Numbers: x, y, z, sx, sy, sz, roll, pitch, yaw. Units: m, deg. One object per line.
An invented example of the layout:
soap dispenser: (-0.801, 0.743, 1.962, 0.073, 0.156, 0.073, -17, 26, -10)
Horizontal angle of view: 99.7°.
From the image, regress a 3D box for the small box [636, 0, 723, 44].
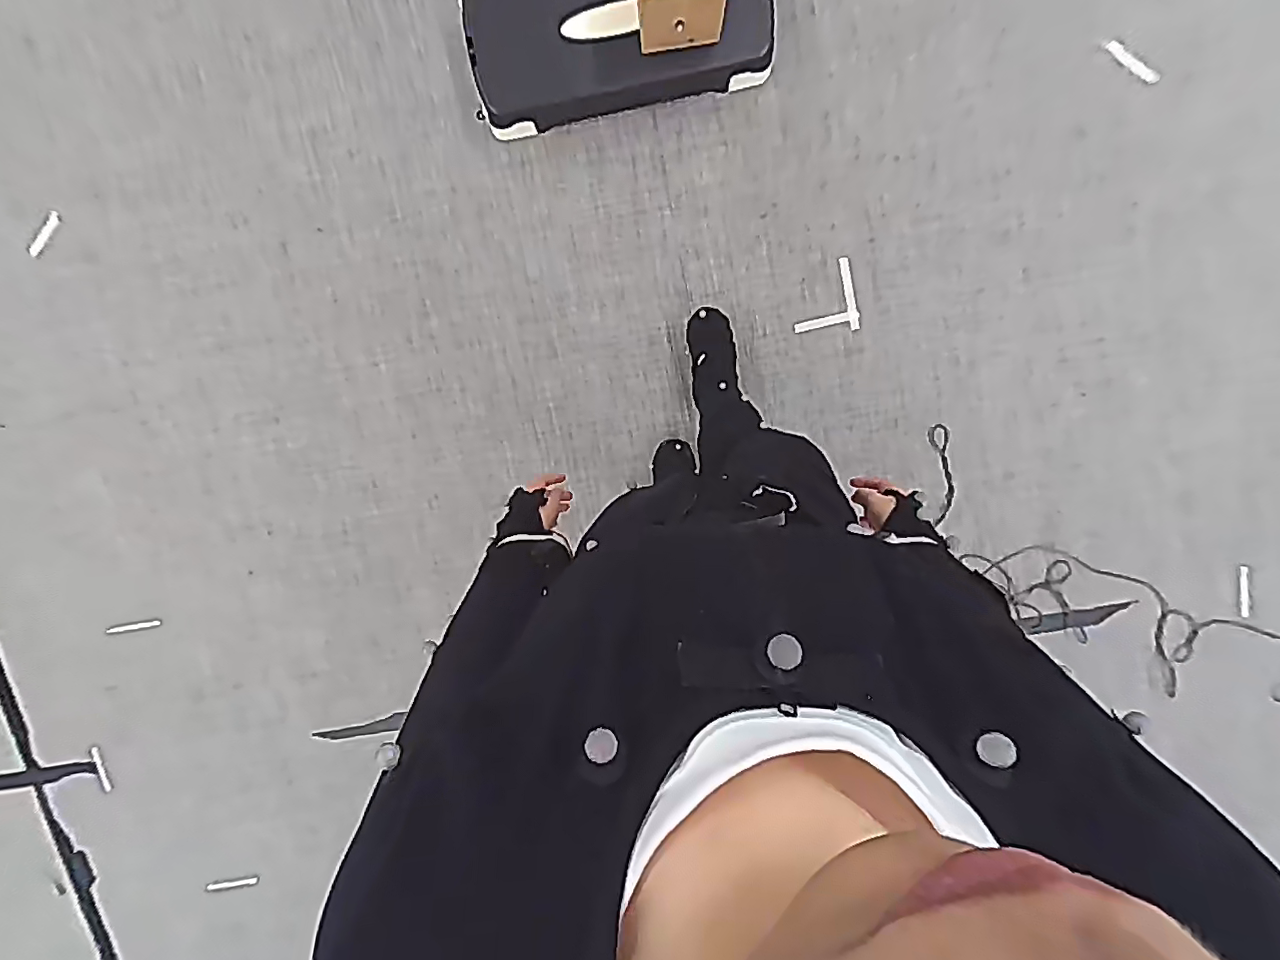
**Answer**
small box: (0.073, -0.998, 1.058, 0.168, 0.176, 0.179, -7, 98, 2)
